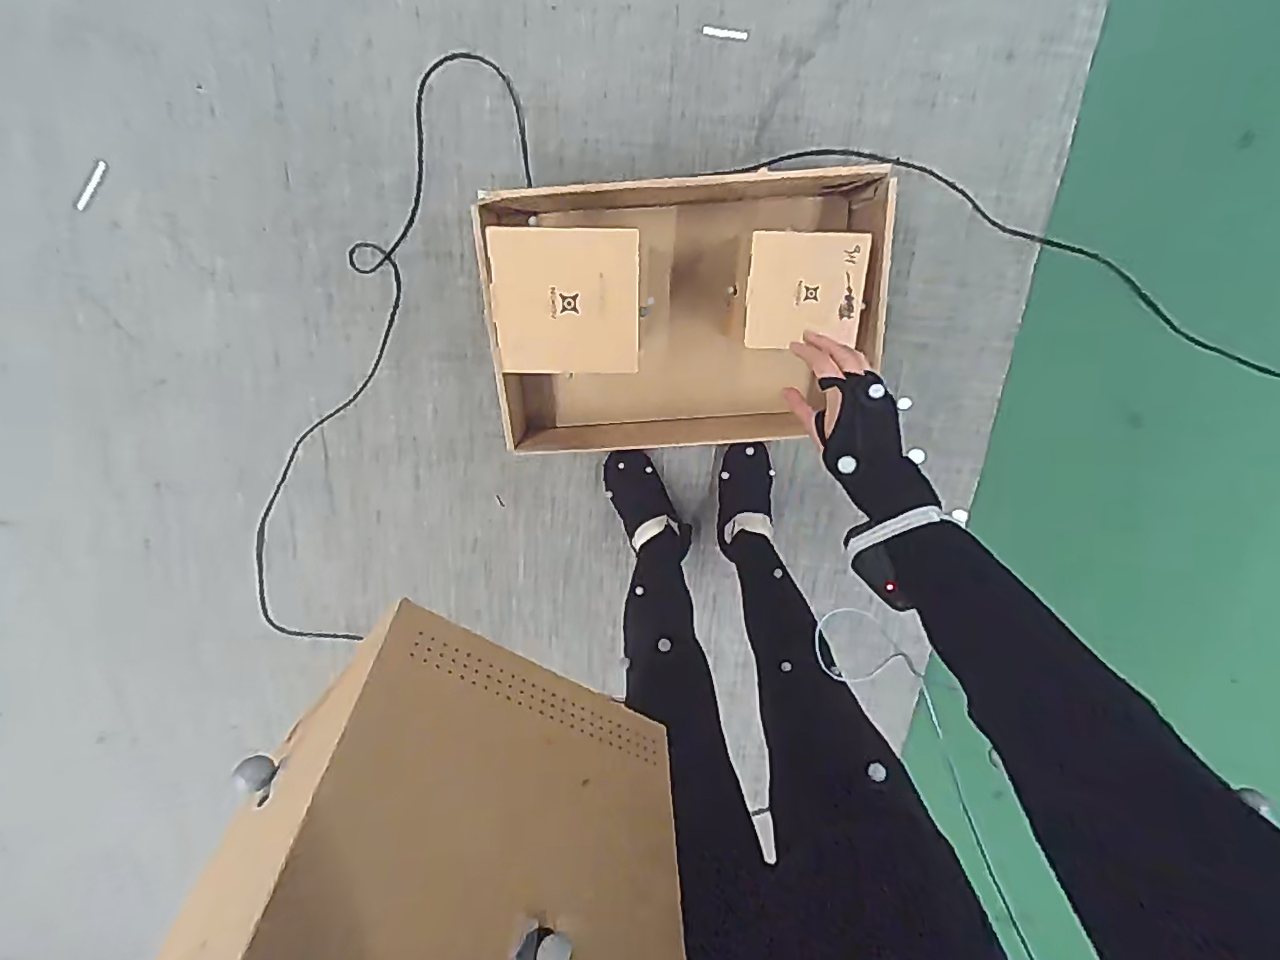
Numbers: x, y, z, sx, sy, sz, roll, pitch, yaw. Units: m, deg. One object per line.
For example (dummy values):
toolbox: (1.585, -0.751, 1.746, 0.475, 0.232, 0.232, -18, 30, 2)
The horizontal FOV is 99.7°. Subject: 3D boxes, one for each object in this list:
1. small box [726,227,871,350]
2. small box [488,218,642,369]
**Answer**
small box: (0.240, -0.305, 0.871, 0.179, 0.176, 0.168, 2, 110, -2)
small box: (-0.090, -0.243, 0.710, 0.179, 0.176, 0.168, 1, 111, -3)
